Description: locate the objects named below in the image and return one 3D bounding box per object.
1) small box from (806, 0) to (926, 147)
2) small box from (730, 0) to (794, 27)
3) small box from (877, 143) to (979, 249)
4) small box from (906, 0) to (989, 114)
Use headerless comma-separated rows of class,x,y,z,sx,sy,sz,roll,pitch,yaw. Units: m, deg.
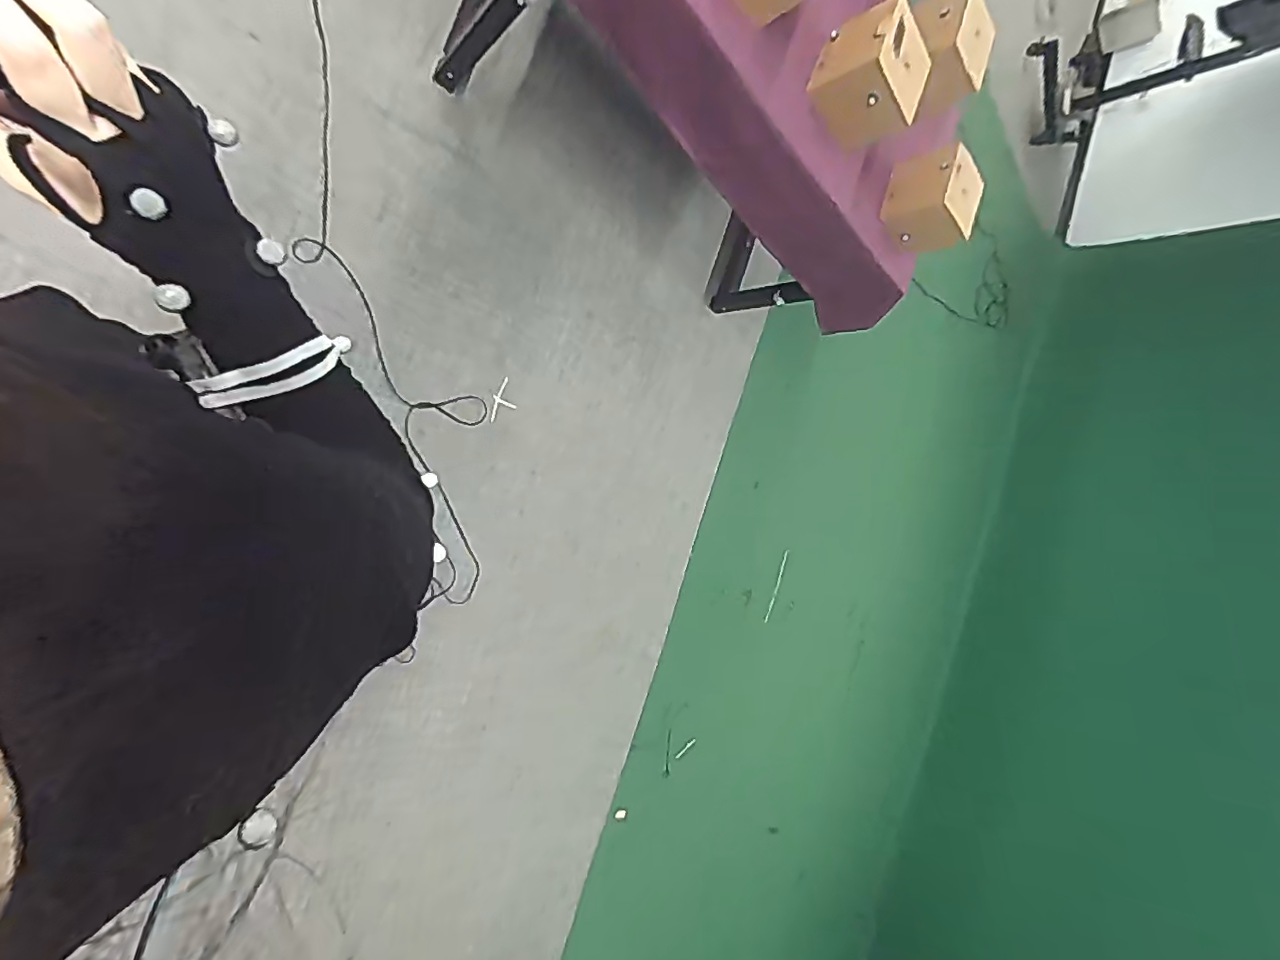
small box,0.489,-0.873,1.178,0.179,0.176,0.168,28,80,-40
small box,0.235,-0.967,0.951,0.179,0.176,0.168,25,81,-41
small box,0.757,-0.734,1.425,0.179,0.176,0.168,22,83,-40
small box,0.740,-1.072,1.353,0.168,0.176,0.179,20,85,-40
